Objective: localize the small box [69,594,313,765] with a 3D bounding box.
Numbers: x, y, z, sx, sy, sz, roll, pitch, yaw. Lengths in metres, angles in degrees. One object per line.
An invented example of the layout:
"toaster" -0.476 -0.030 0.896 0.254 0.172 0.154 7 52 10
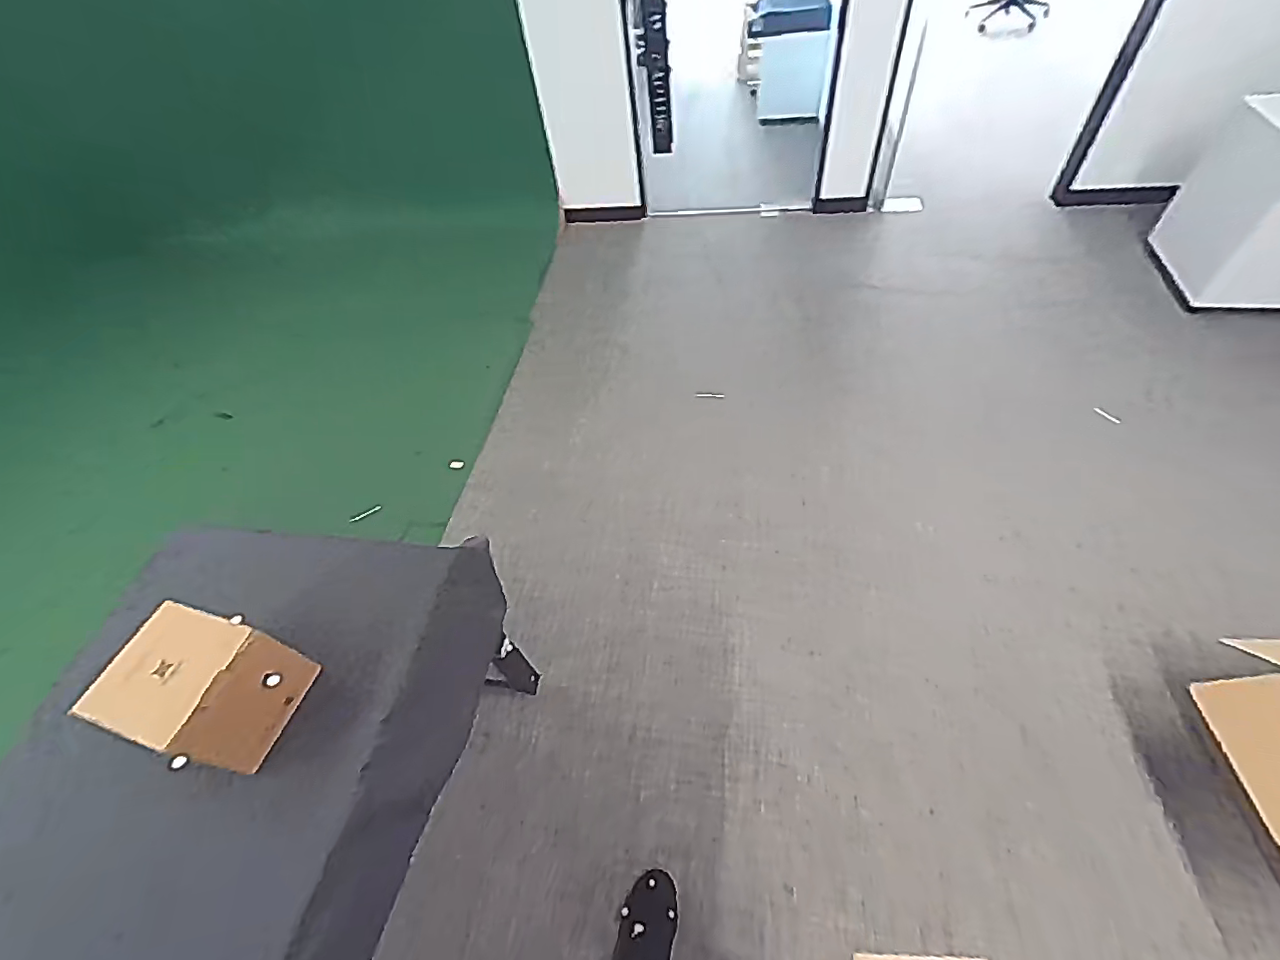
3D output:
"small box" -0.632 0.295 0.790 0.179 0.176 0.168 10 52 16

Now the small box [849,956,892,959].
"small box" 0.338 0.689 0.597 0.168 0.179 0.176 -9 93 15
